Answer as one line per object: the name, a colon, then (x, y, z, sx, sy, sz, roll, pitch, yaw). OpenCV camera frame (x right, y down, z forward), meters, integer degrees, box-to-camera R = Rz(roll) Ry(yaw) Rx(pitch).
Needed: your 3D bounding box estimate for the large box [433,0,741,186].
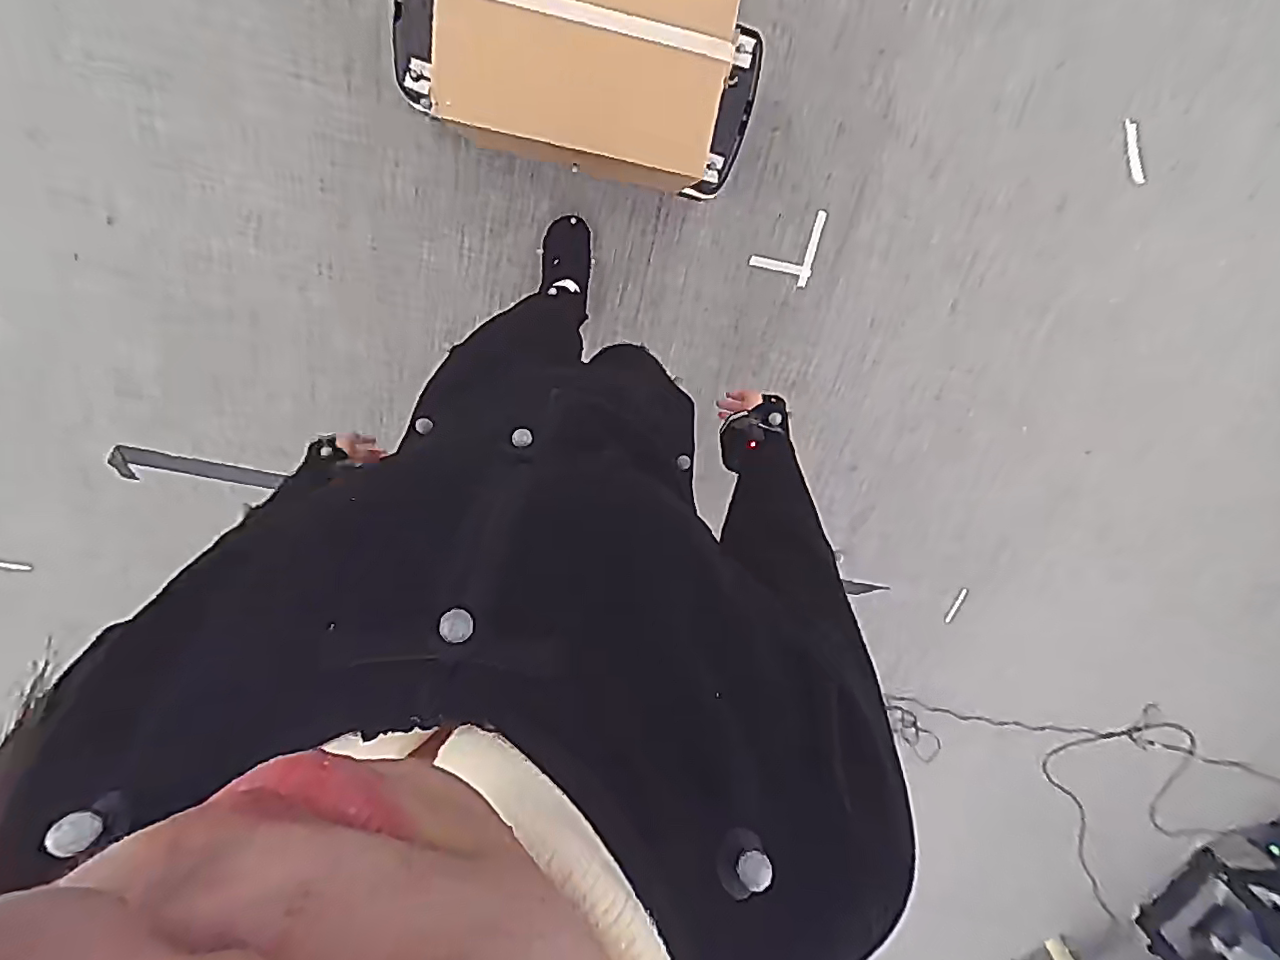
large box: (-0.076, -0.681, 0.859, 0.408, 0.320, 0.320, 9, 113, -7)
